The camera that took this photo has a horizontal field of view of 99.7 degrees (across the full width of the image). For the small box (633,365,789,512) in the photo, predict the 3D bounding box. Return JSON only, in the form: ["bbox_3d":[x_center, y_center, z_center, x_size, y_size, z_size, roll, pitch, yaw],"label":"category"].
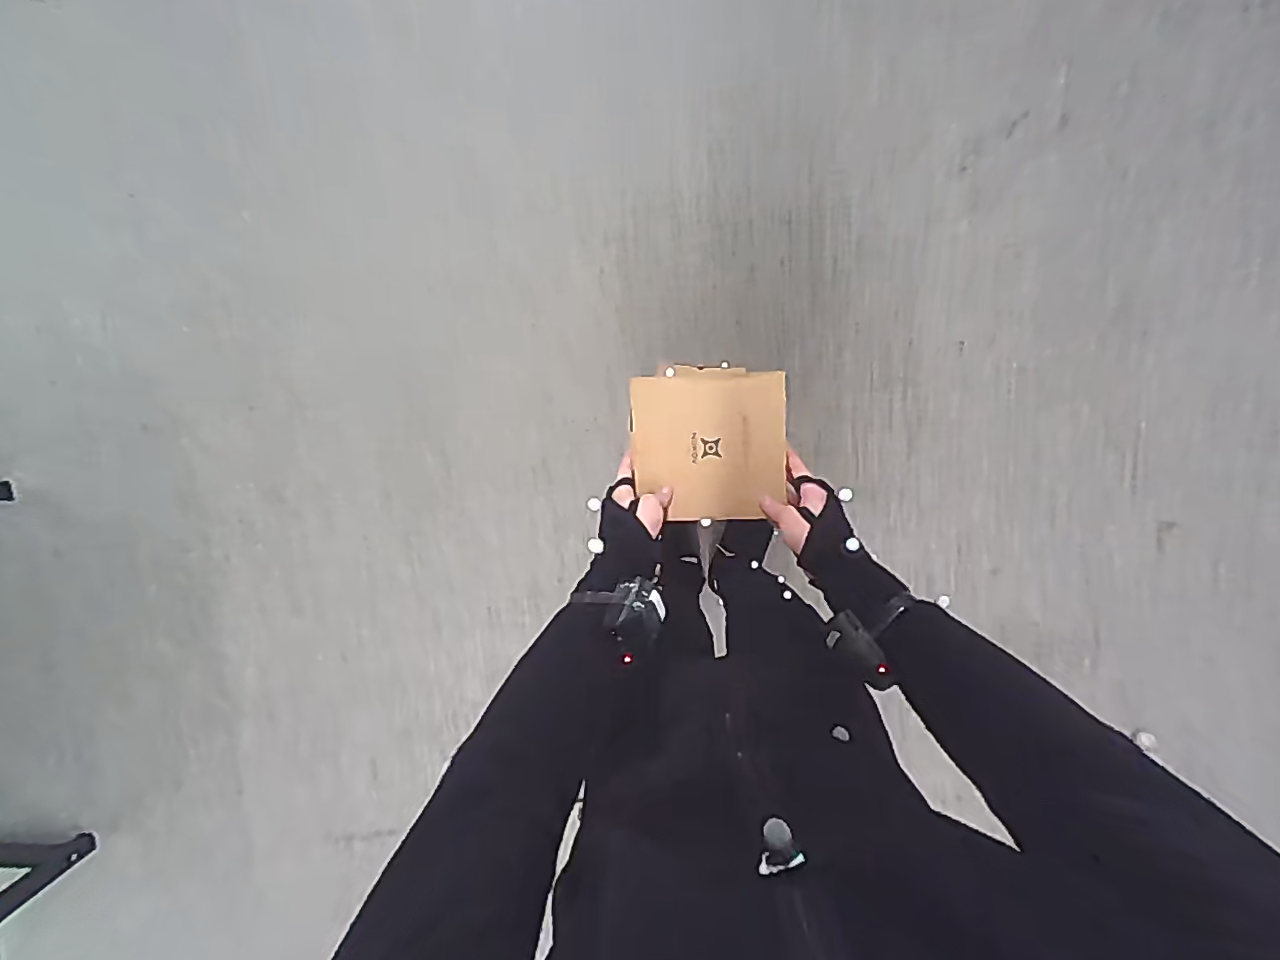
[{"bbox_3d":[0.090,-0.052,0.696,0.179,0.176,0.168,-2,96,6],"label":"small box"}]

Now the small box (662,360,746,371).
[{"bbox_3d":[0.120,-0.139,1.077,0.168,0.176,0.179,5,100,5],"label":"small box"}]
